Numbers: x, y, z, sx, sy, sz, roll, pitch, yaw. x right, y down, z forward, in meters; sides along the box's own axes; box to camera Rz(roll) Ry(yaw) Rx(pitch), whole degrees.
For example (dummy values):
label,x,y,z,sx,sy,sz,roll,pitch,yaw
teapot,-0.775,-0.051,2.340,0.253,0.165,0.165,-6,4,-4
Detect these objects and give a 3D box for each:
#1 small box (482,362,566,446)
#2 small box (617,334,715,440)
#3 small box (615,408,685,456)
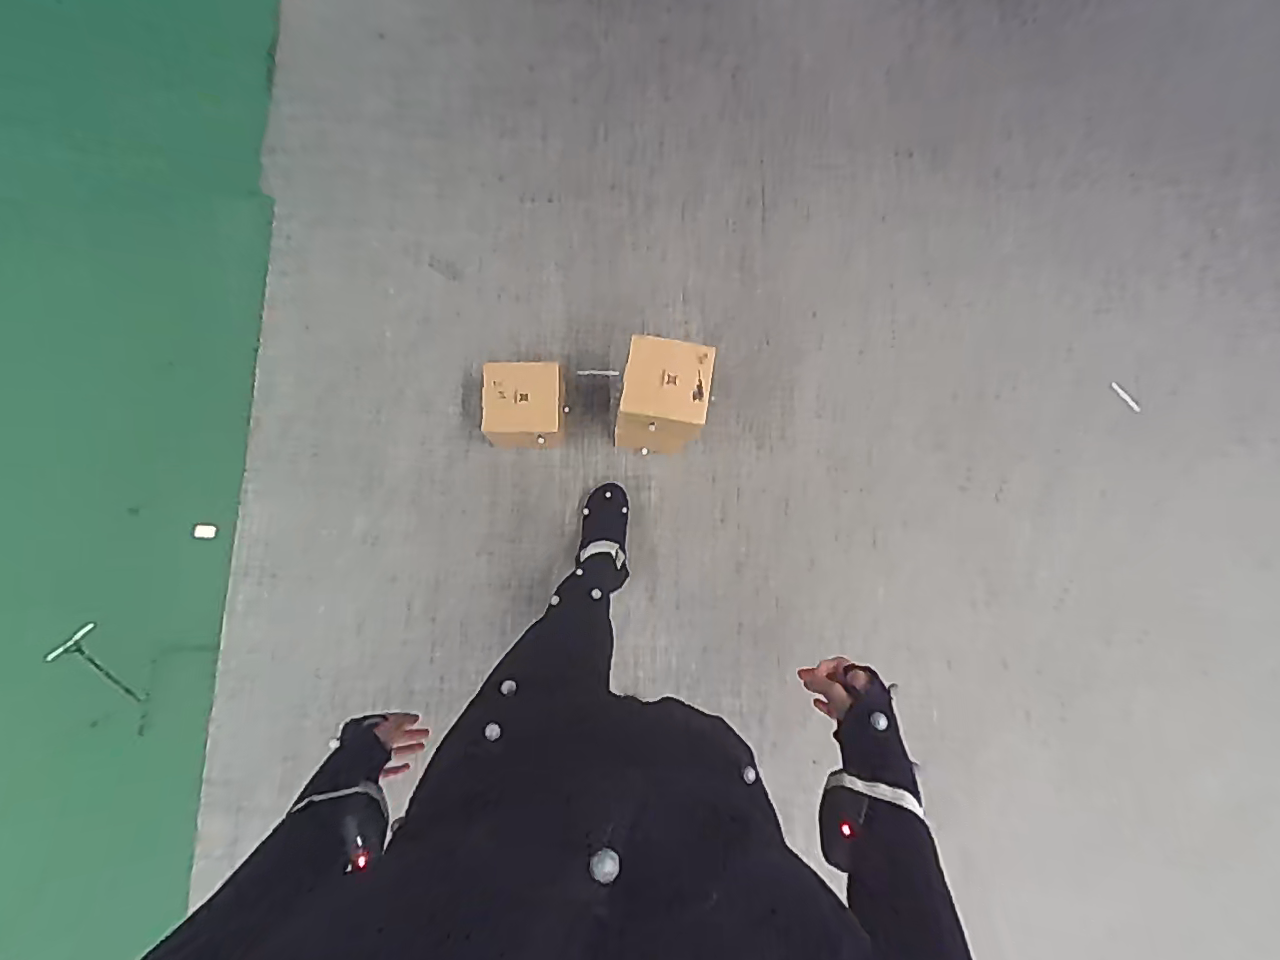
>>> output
label,x,y,z,sx,sy,sz,roll,pitch,yaw
small box,-0.273,-0.179,1.312,0.179,0.176,0.168,-1,81,-1
small box,0.053,-0.191,1.159,0.179,0.176,0.168,10,81,1
small box,0.033,-0.170,1.322,0.168,0.176,0.179,10,82,0
